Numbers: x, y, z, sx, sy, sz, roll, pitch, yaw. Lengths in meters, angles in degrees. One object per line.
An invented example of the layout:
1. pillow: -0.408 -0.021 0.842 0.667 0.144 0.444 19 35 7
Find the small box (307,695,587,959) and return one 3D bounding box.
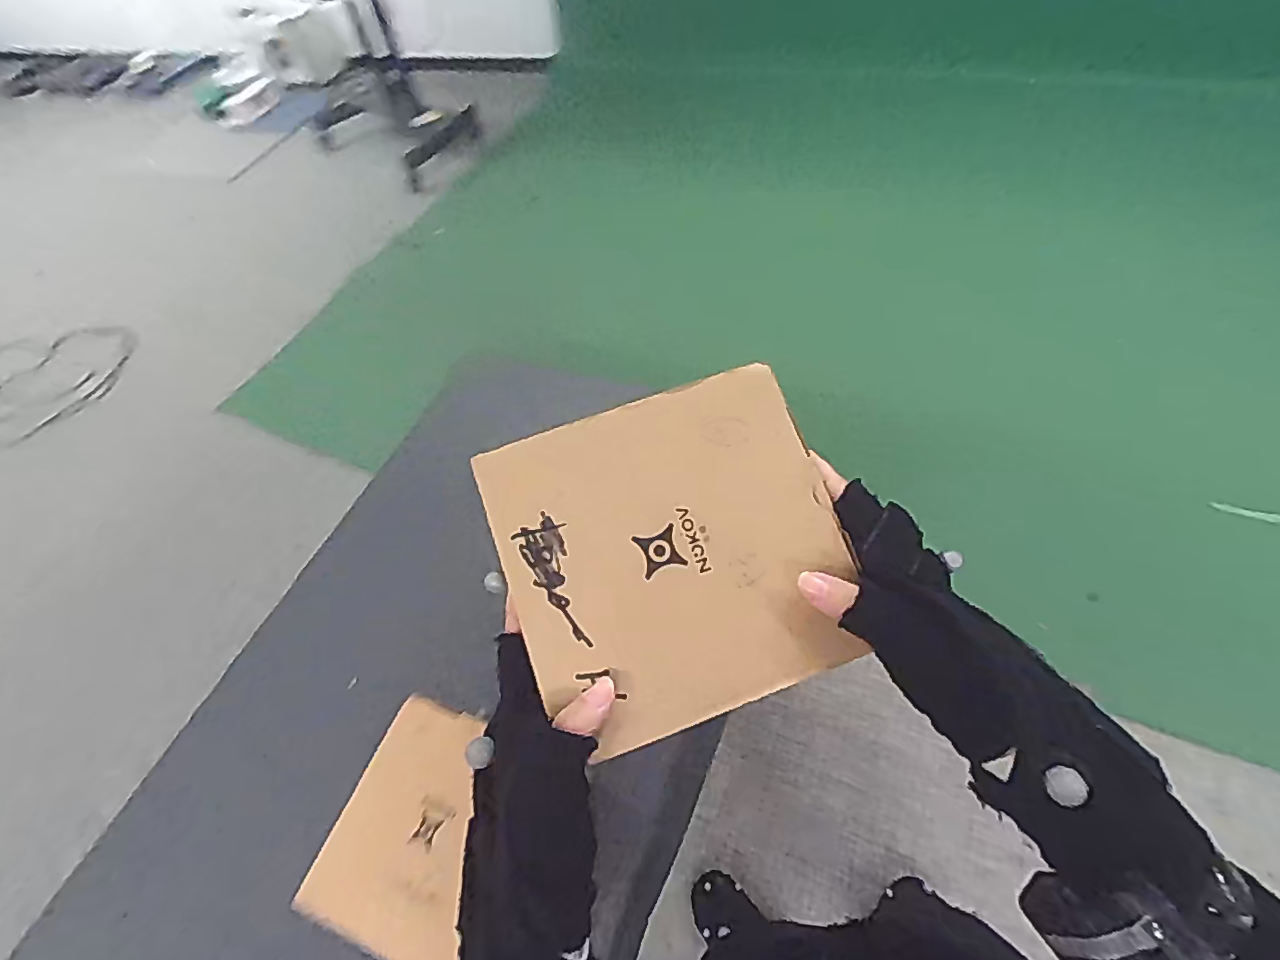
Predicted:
1. small box: -0.164 0.342 0.533 0.168 0.176 0.179 12 60 18

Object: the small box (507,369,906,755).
1. small box: 0.028 0.054 0.361 0.179 0.176 0.168 -17 76 -6
